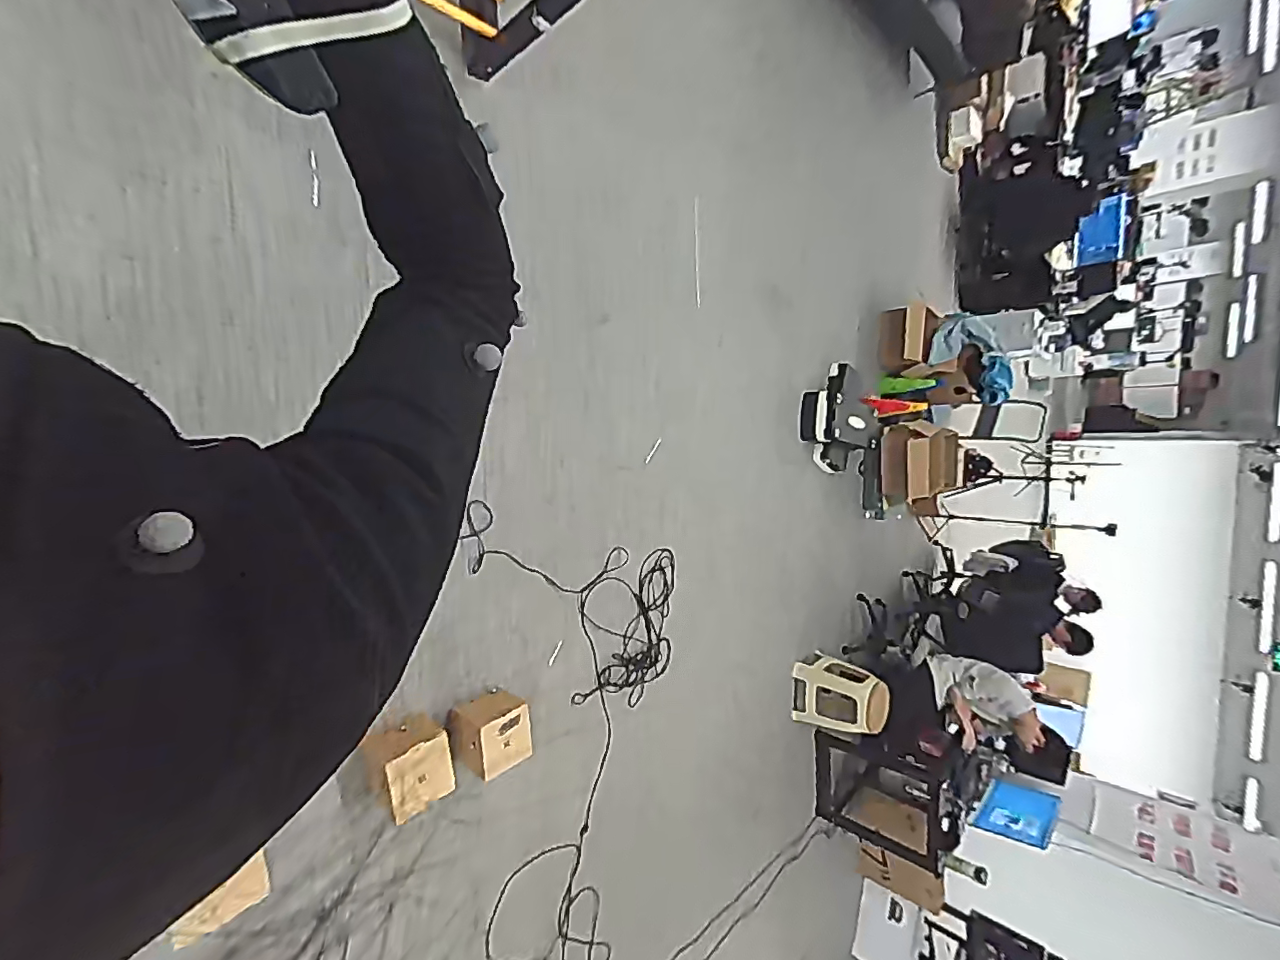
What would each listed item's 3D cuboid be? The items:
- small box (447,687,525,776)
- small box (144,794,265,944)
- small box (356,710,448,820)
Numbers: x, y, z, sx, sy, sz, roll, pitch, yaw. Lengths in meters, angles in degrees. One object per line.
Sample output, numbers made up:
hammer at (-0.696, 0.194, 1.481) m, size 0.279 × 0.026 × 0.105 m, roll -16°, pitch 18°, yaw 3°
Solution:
small box at (-0.474, 0.759, 1.659) m, size 0.168 × 0.176 × 0.179 m, roll -11°, pitch 102°, yaw -46°
small box at (-0.937, 0.815, 1.162) m, size 0.168 × 0.176 × 0.179 m, roll -14°, pitch 103°, yaw -45°
small box at (-0.649, 0.765, 1.472) m, size 0.168 × 0.176 × 0.179 m, roll -16°, pitch 103°, yaw -46°
